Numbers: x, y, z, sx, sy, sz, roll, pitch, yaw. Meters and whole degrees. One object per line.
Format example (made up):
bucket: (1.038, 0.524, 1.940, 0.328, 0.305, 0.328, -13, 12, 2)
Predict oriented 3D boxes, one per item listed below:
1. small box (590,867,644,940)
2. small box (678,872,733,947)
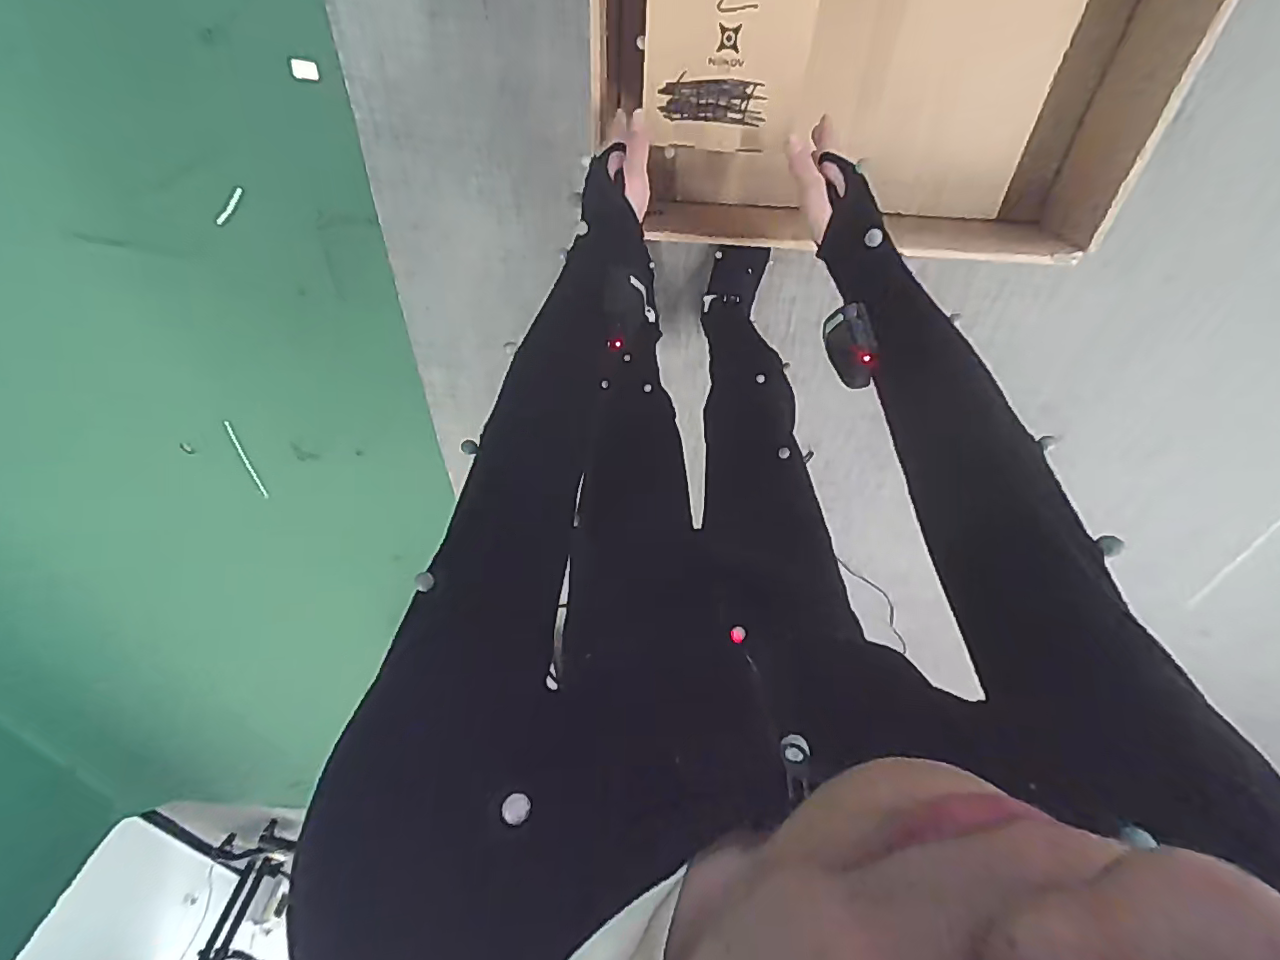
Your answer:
small box: (-0.072, 1.409, 1.811, 0.168, 0.176, 0.179, 1, 129, 2)
small box: (0.213, 1.425, 1.799, 0.168, 0.176, 0.179, 2, 131, 3)
